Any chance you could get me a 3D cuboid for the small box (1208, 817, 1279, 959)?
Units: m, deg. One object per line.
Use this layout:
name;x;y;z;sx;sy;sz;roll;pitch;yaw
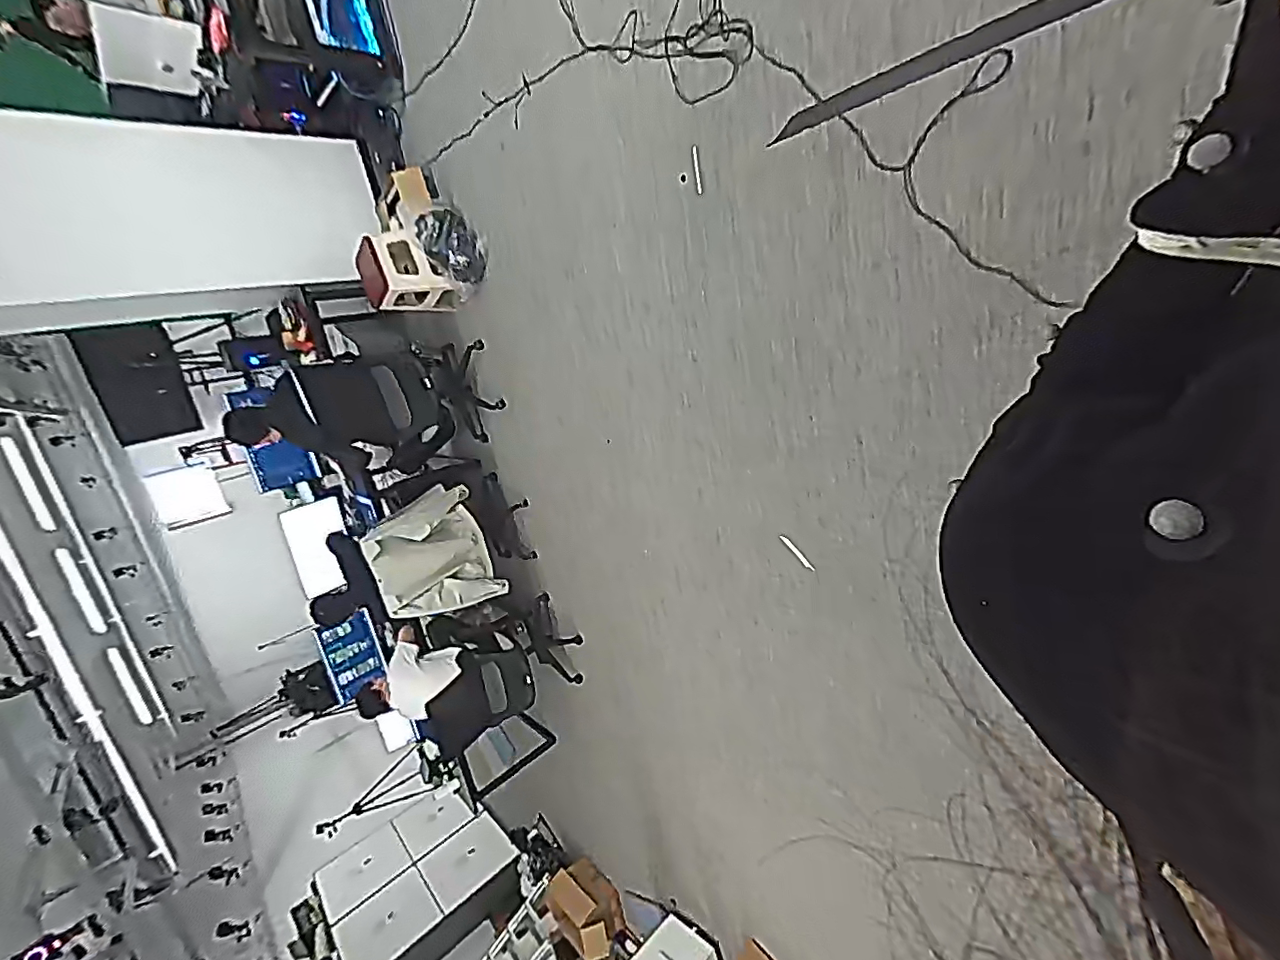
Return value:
small box;1.092;0.717;0.906;0.179;0.176;0.168;7;112;50
